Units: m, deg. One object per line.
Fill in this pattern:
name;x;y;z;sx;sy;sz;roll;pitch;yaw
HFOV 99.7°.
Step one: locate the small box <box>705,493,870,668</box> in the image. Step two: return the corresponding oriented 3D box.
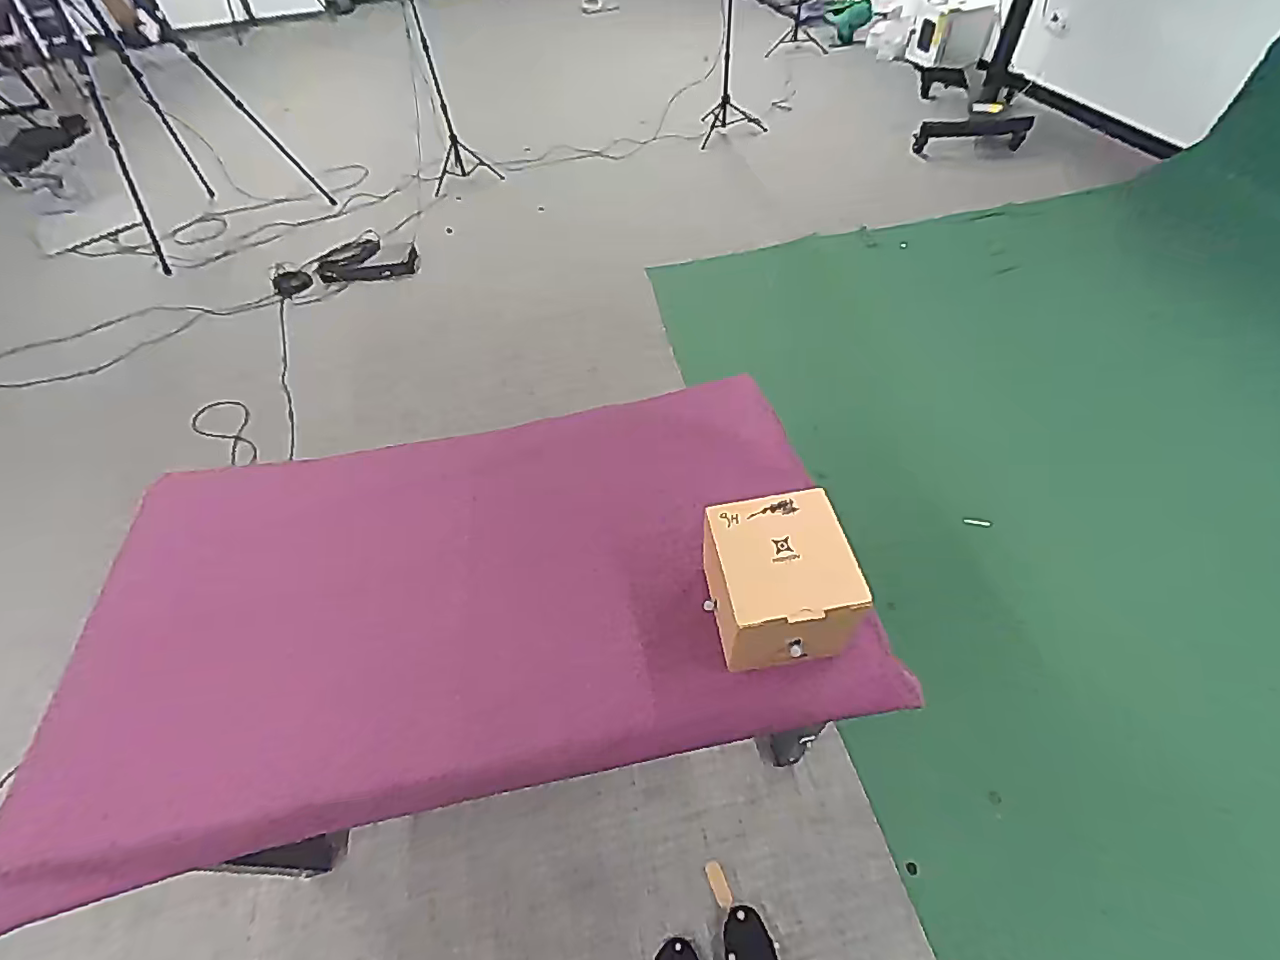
small box;0.187;0.146;0.741;0.168;0.176;0.179;-9;54;-1
